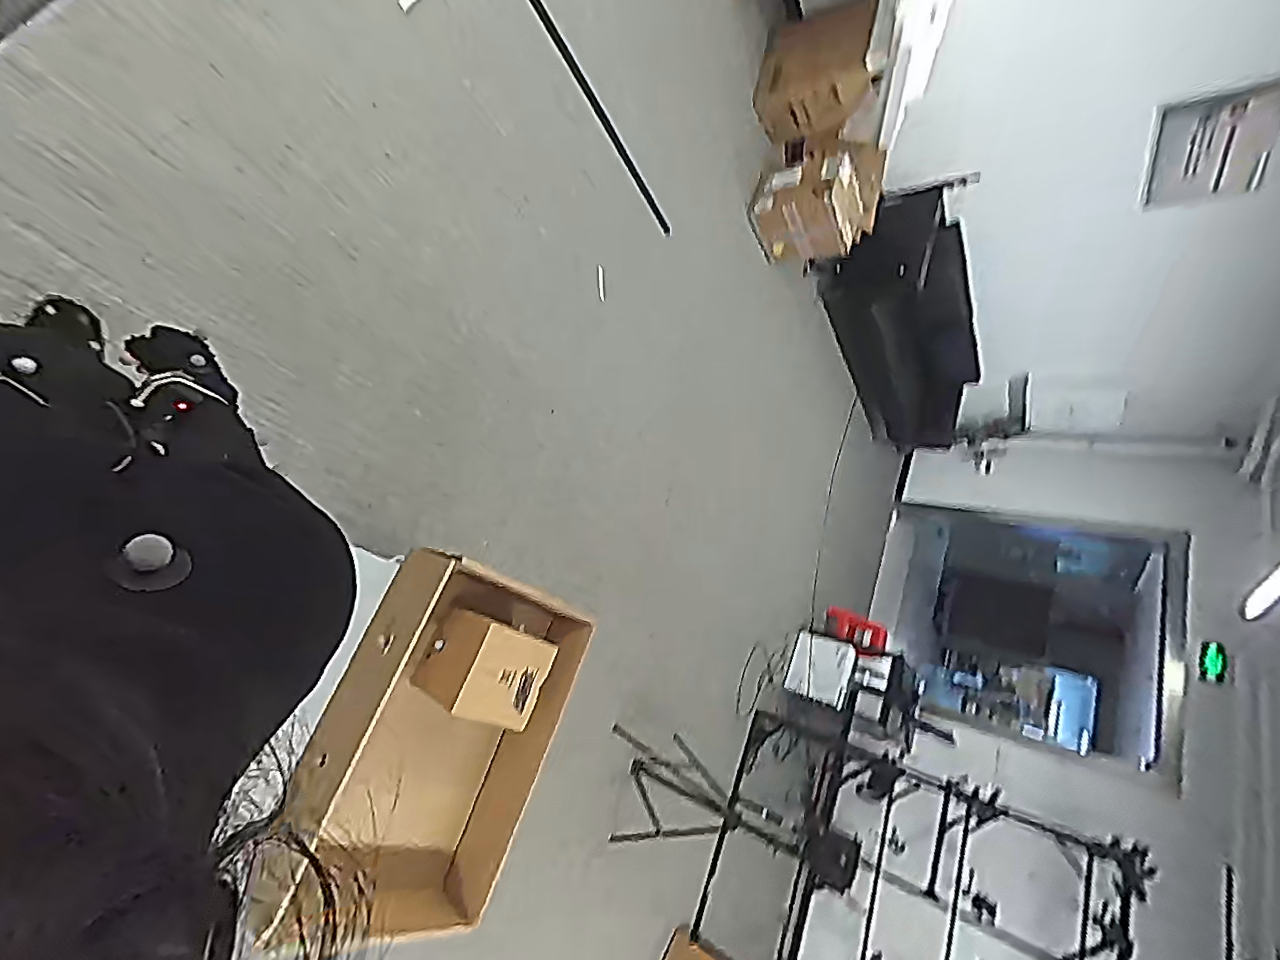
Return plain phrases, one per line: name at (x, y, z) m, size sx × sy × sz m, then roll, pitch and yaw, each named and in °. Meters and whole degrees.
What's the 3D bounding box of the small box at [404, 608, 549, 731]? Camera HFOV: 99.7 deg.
small box at (-0.319, 0.365, 1.058) m, size 0.179 × 0.176 × 0.168 m, roll 40°, pitch 65°, yaw -41°
